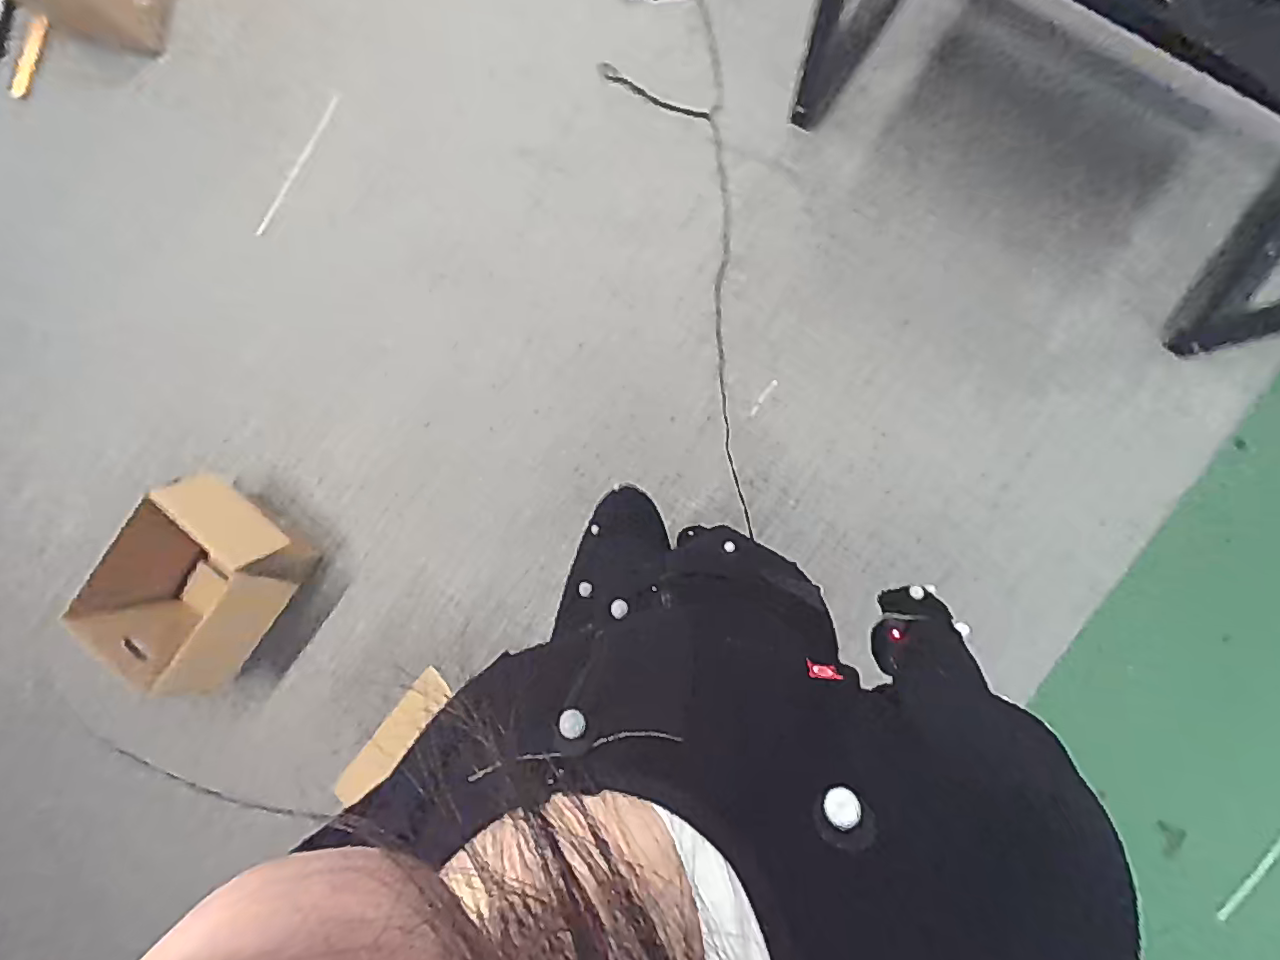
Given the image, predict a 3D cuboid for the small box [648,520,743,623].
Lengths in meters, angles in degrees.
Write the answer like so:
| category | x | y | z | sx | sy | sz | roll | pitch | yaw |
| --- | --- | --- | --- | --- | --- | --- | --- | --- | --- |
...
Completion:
| category | x | y | z | sx | sy | sz | roll | pitch | yaw |
| --- | --- | --- | --- | --- | --- | --- | --- | --- | --- |
| small box | 0.153 | 0.240 | 1.405 | 0.168 | 0.176 | 0.179 | 23 | 68 | 34 |
